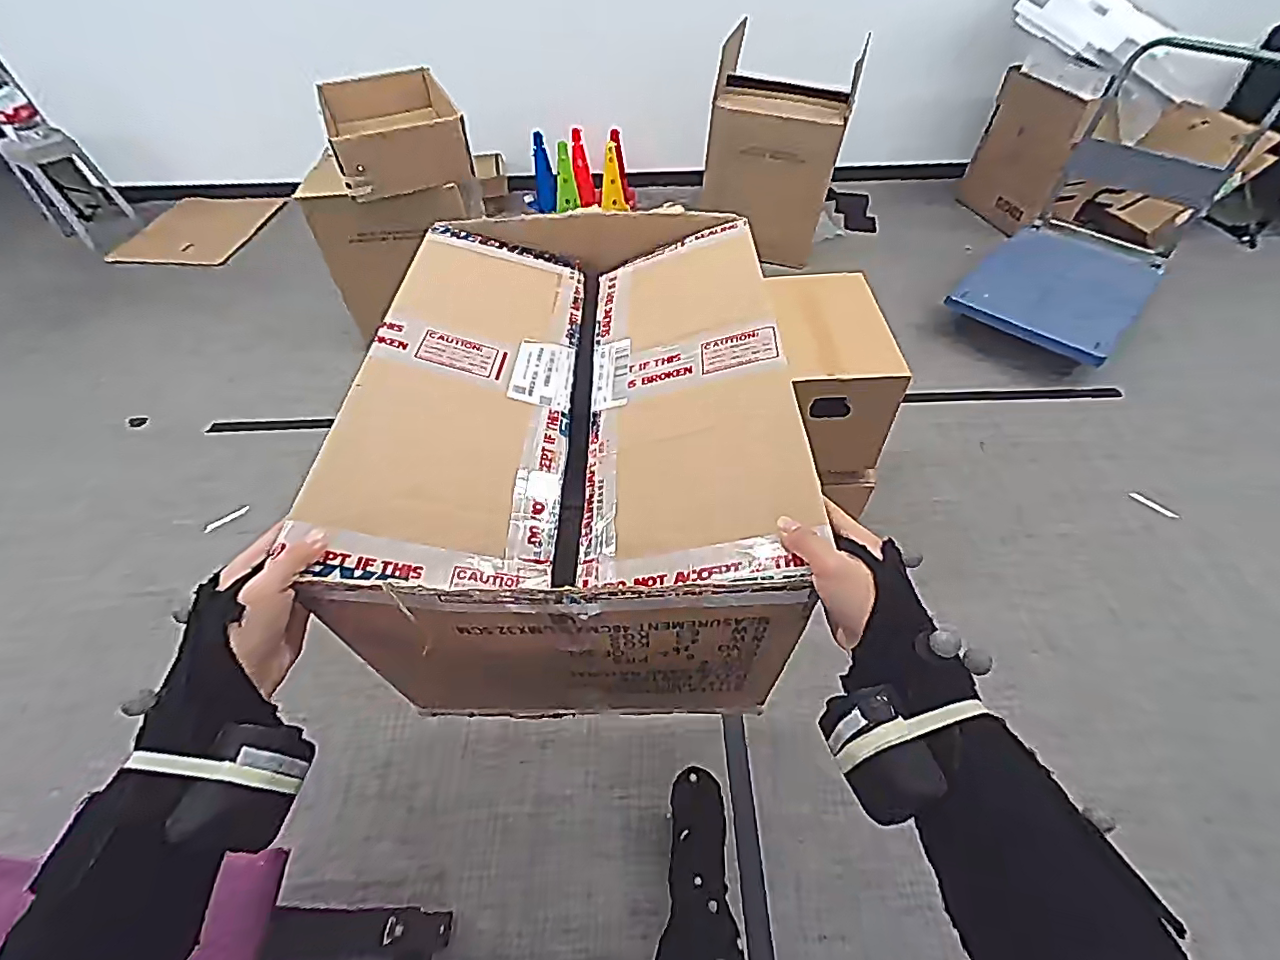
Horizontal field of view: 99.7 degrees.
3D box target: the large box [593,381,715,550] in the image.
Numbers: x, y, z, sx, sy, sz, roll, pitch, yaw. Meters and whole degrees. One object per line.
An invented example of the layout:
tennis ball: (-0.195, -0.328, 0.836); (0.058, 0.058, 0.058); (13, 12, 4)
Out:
large box: (0.028, -0.044, 1.610); (0.320, 0.320, 0.408); (-3, 51, -1)
